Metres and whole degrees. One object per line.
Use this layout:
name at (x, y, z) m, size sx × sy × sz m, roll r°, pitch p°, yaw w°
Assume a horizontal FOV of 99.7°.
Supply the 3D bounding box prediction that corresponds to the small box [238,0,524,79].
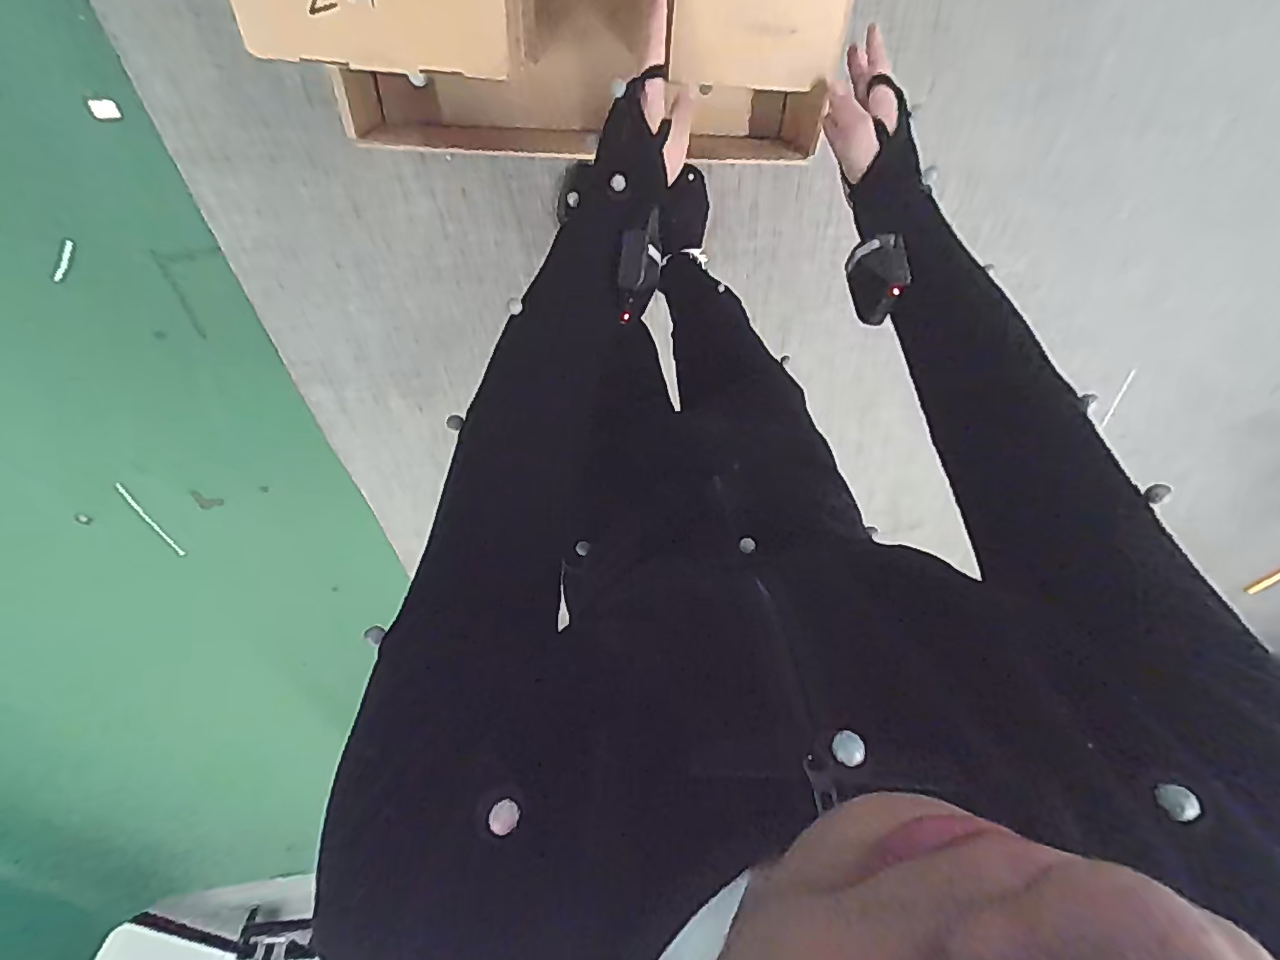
small box at (-0.168, -0.392, 0.364) m, size 0.168 × 0.176 × 0.179 m, roll 0°, pitch 130°, yaw -8°

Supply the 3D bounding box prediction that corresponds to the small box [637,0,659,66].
small box at (0.088, -0.606, 0.649) m, size 0.168 × 0.176 × 0.179 m, roll -1°, pitch 129°, yaw -7°

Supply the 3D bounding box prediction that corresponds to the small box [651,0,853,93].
small box at (0.105, -0.498, 0.528) m, size 0.168 × 0.176 × 0.179 m, roll 0°, pitch 131°, yaw -7°
